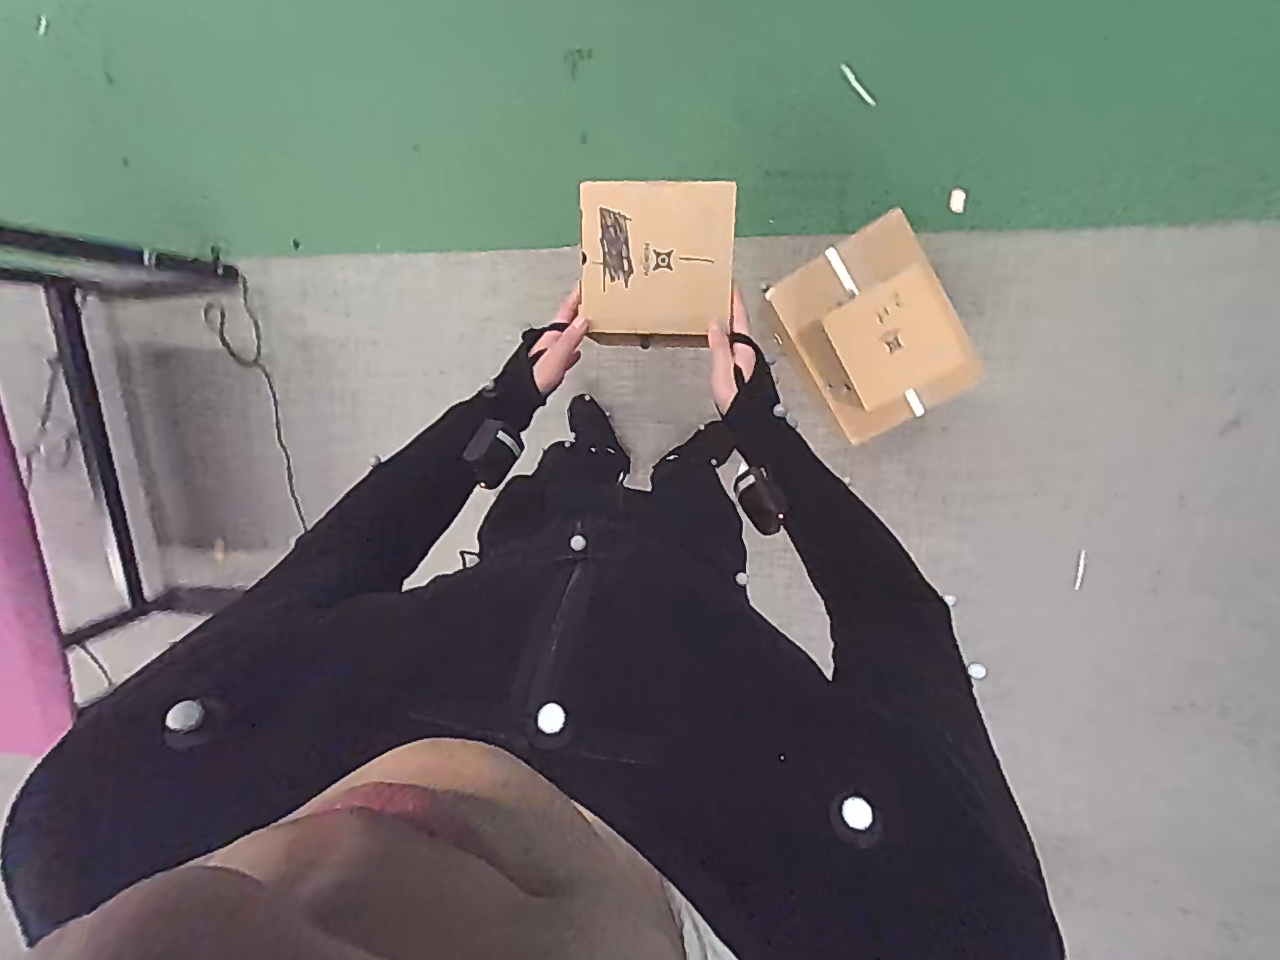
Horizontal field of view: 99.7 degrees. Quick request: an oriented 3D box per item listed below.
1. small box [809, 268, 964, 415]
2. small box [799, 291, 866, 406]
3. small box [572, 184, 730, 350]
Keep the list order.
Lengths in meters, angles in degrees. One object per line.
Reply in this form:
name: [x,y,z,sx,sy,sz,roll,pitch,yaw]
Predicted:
small box: [0.410,-0.233,0.928,0.168,0.176,0.179,-28,97,13]
small box: [0.438,-0.269,1.086,0.168,0.176,0.179,-29,96,15]
small box: [0.016,-0.254,0.682,0.179,0.176,0.168,1,99,3]
